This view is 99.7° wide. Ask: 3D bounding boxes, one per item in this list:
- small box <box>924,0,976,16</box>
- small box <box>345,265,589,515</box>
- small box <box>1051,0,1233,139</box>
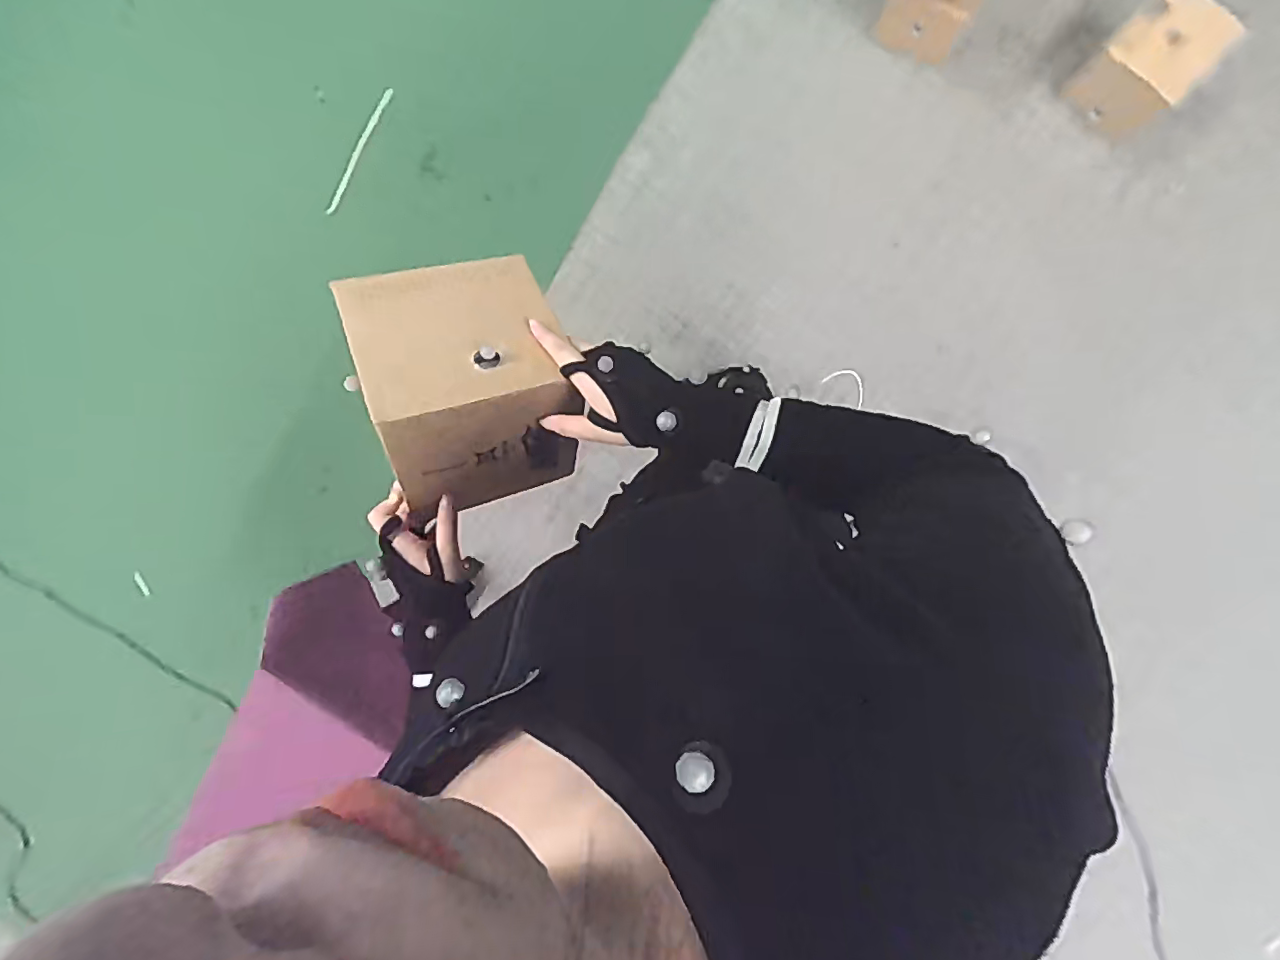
[{"bbox_3d":[0.598,-1.019,0.994,0.168,0.176,0.179,25,100,5],"label":"small box"},{"bbox_3d":[-0.170,-0.094,0.541,0.179,0.168,0.176,-15,63,-22],"label":"small box"},{"bbox_3d":[1.018,-0.848,1.116,0.179,0.176,0.168,42,102,1],"label":"small box"}]
